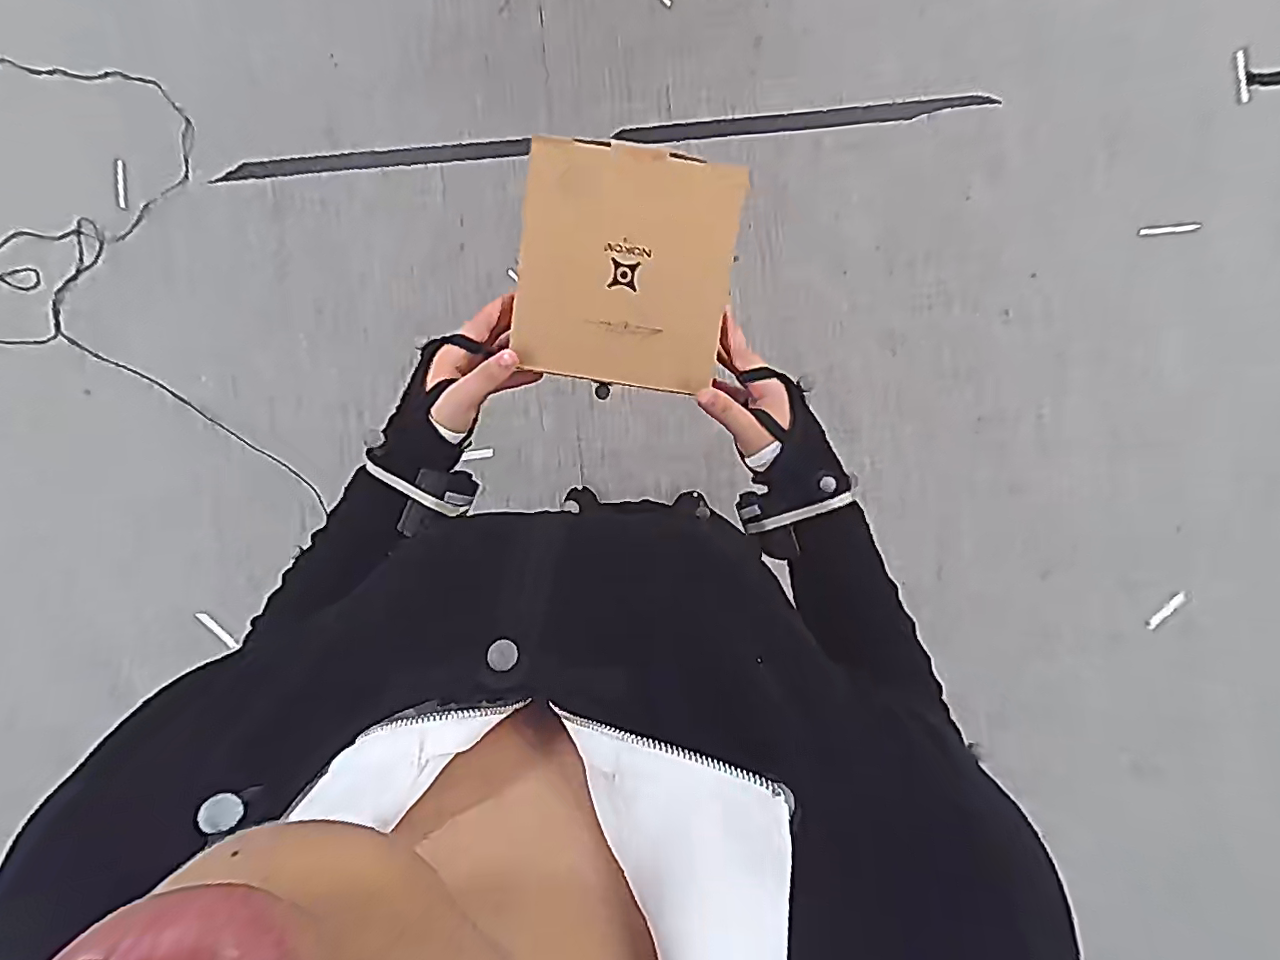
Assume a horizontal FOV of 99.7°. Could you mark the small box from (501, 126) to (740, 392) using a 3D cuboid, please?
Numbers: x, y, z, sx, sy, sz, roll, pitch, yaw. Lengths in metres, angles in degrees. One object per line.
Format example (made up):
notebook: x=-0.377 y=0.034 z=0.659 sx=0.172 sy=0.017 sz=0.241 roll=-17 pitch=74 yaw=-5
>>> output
small box: x=-0.018 y=-0.180 z=0.495 sx=0.168 sy=0.176 sz=0.179 roll=8 pitch=101 yaw=-1

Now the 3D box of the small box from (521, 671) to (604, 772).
small box: x=-0.183 y=0.587 z=1.317 sx=0.168 sy=0.176 sz=0.179 roll=-5 pitch=90 yaw=2

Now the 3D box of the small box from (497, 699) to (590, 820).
small box: x=-0.199 y=0.589 z=1.154 sx=0.168 sy=0.176 sz=0.179 roll=-2 pitch=90 yaw=2
